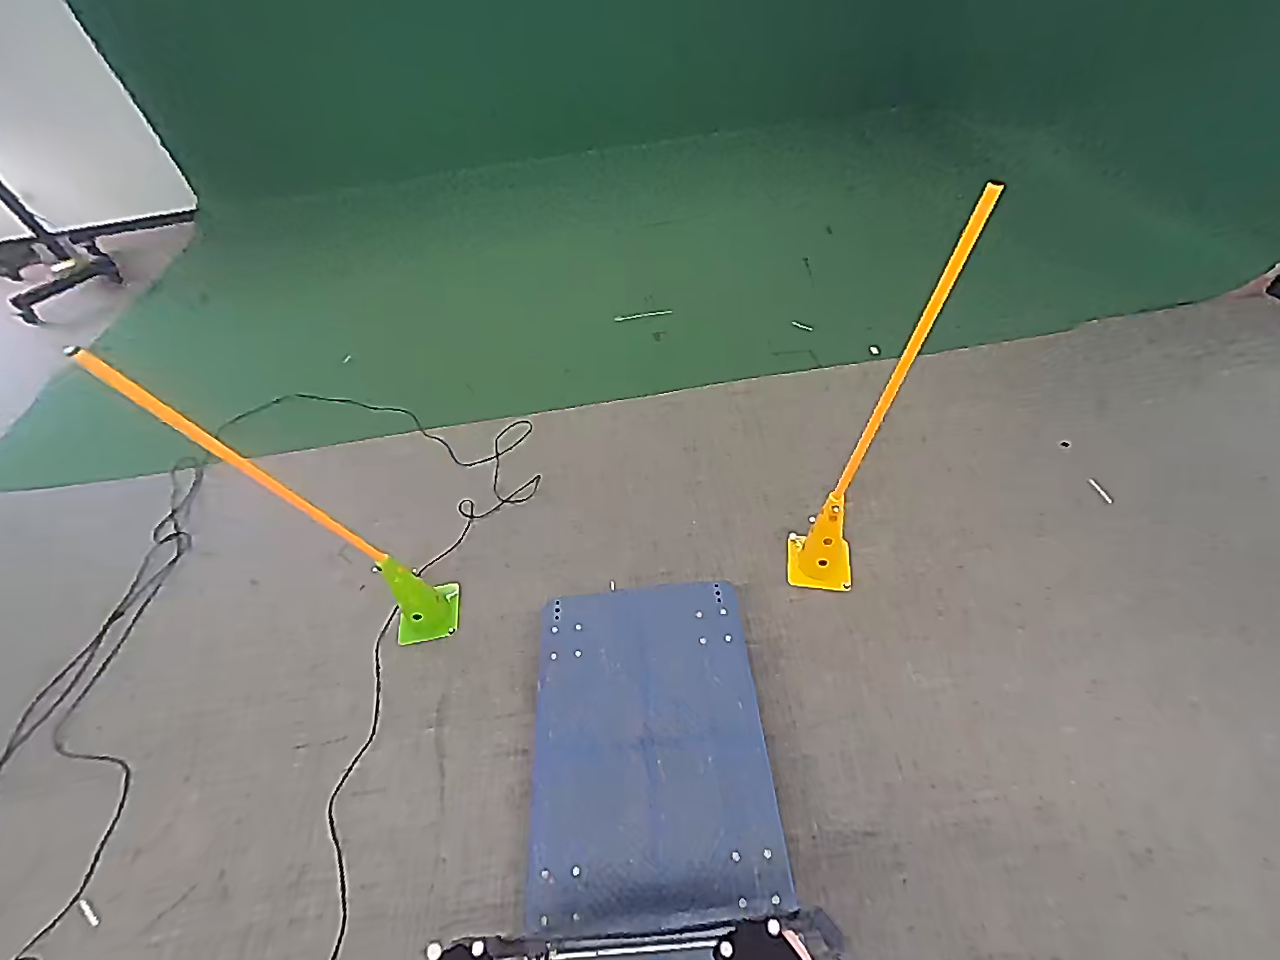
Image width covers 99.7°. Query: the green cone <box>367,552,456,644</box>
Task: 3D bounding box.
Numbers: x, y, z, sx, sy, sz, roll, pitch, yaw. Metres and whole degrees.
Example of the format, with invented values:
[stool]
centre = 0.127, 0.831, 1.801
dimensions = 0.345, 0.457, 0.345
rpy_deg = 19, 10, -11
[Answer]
[green cone]
centre = -0.744, 0.334, 1.700
dimensions = 0.202, 0.368, 0.200
rpy_deg = -13, 49, -1
